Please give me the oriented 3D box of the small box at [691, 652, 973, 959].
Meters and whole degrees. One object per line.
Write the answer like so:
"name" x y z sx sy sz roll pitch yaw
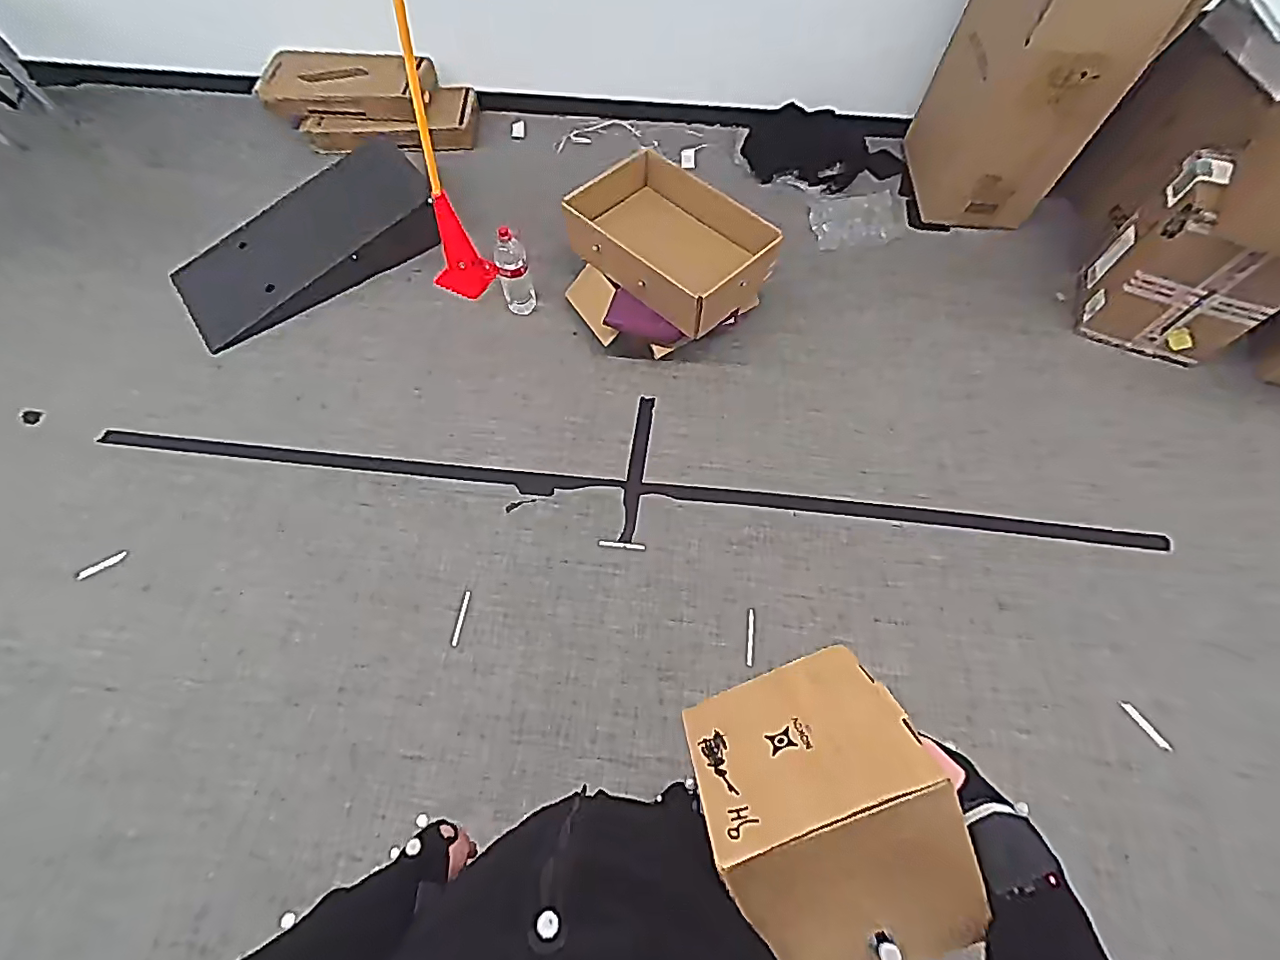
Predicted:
"small box" 0.167 0.297 0.489 0.179 0.168 0.176 -23 106 1
